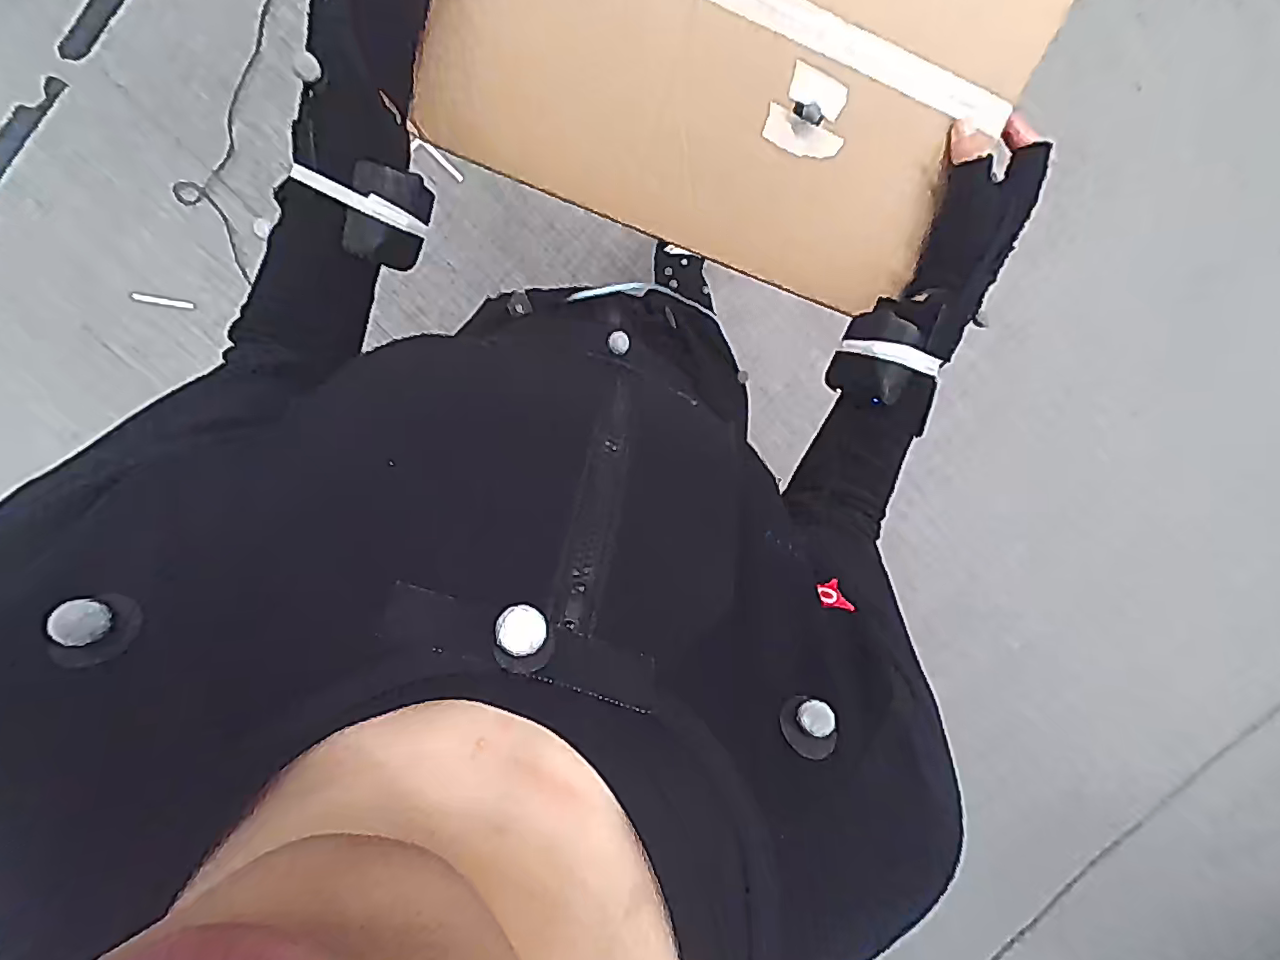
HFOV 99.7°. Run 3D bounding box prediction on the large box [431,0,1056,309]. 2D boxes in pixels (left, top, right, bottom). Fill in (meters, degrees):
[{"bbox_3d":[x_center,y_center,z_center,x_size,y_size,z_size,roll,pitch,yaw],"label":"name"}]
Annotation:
[{"bbox_3d":[0.072,-0.401,0.504,0.408,0.320,0.320,18,118,-11],"label":"large box"}]
